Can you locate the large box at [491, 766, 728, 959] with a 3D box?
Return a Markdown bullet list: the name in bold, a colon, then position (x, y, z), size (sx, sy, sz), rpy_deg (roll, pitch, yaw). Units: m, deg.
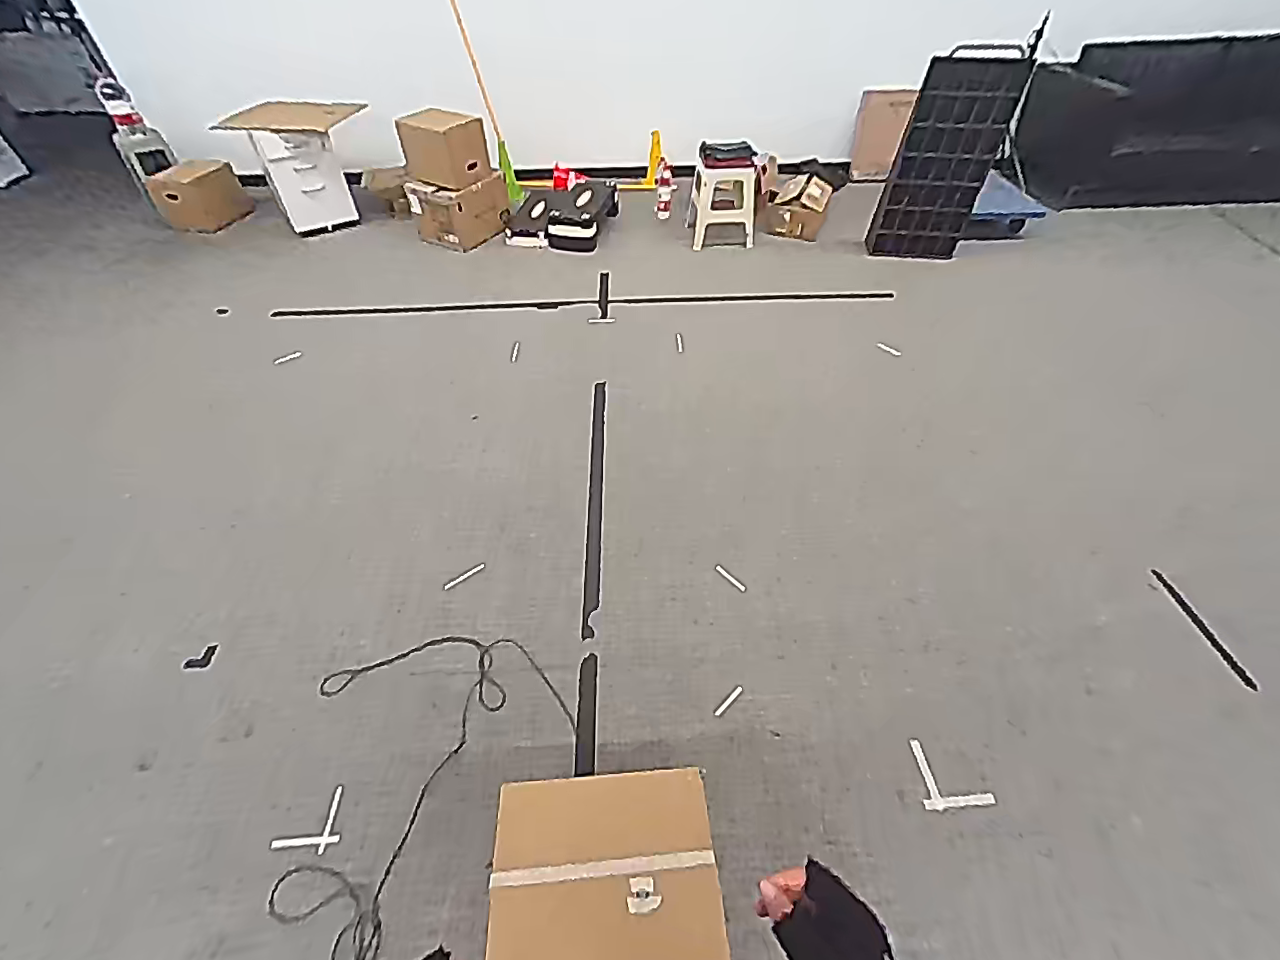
- **large box**: position (-0.064, 0.814, 1.095), size (0.408, 0.320, 0.320), rpy_deg (-3, 45, -4)
